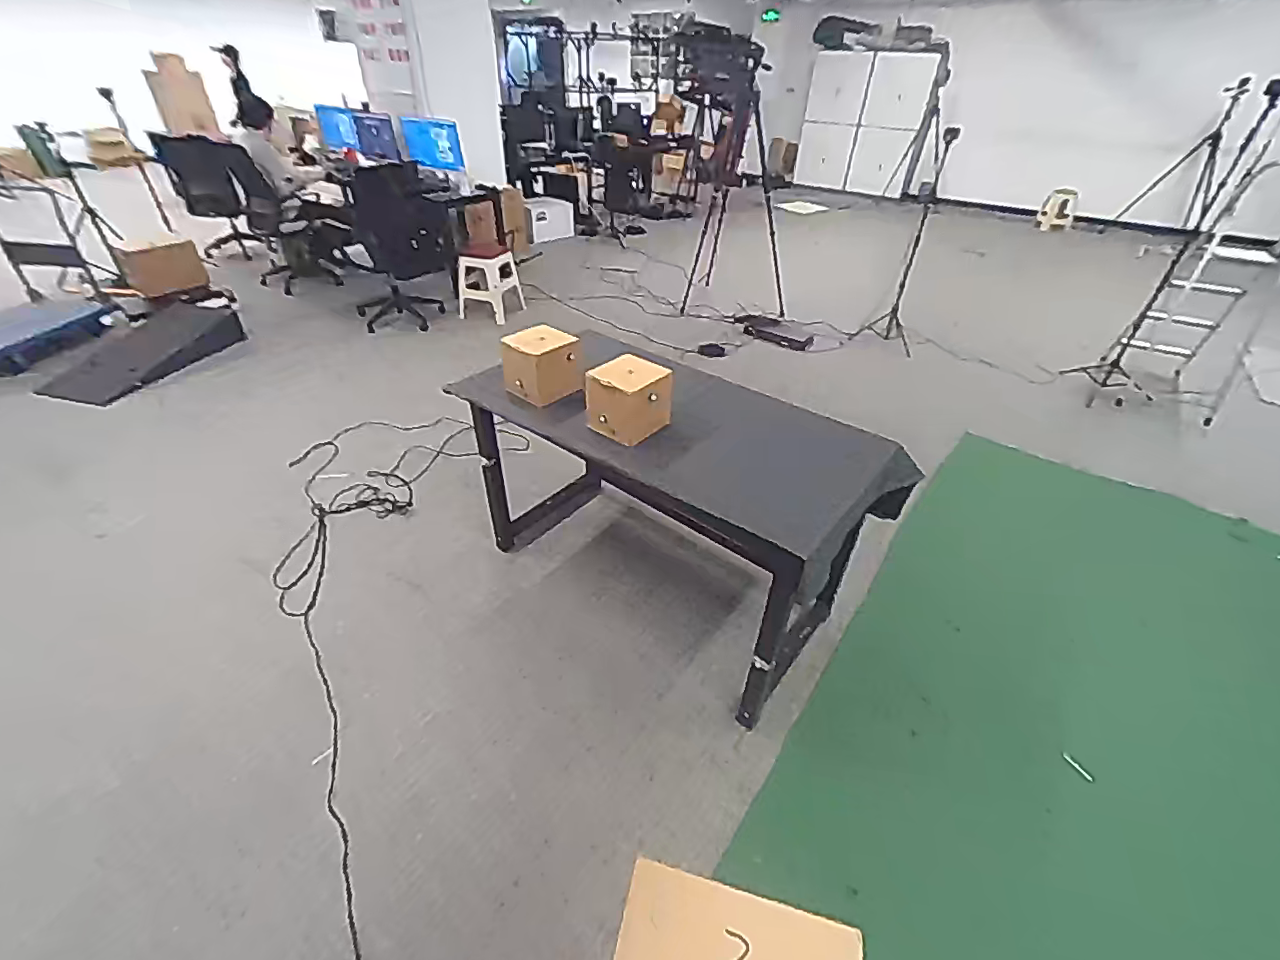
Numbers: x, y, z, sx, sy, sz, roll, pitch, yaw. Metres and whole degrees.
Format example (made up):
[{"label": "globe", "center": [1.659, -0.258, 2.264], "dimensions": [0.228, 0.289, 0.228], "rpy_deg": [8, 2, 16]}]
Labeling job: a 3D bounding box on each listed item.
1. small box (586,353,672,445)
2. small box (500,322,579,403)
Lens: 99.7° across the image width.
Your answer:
[{"label": "small box", "center": [-0.036, -0.225, 1.494], "dimensions": [0.168, 0.176, 0.179], "rpy_deg": [29, 44, 29]}, {"label": "small box", "center": [-0.302, -0.357, 1.641], "dimensions": [0.168, 0.176, 0.179], "rpy_deg": [29, 44, 30]}]
